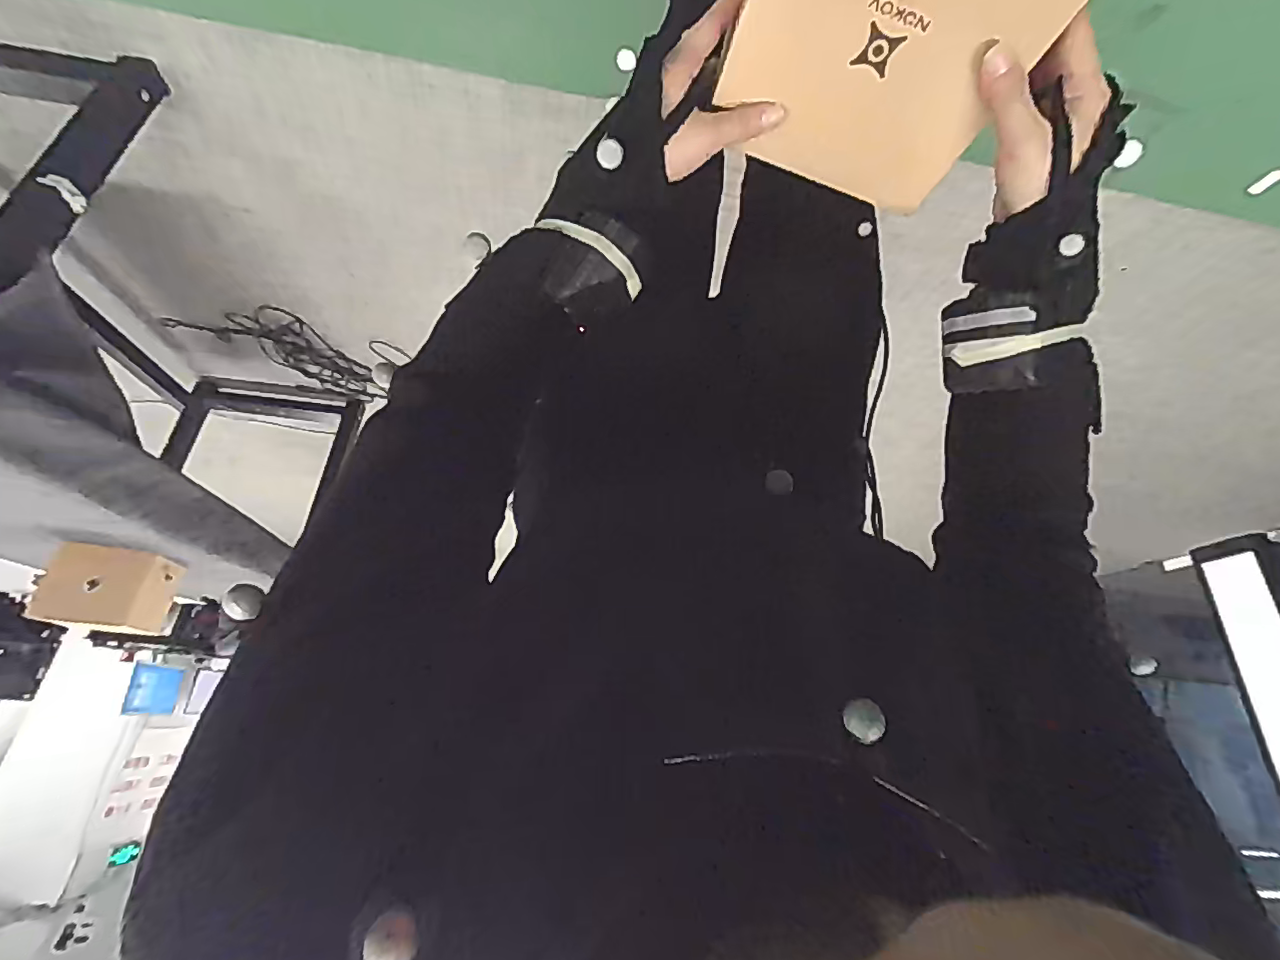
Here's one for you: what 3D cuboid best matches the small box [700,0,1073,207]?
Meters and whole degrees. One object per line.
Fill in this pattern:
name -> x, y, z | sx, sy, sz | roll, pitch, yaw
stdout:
small box -> 0.155, -0.326, 0.345 | 0.168, 0.176, 0.179 | 17, 154, -7
